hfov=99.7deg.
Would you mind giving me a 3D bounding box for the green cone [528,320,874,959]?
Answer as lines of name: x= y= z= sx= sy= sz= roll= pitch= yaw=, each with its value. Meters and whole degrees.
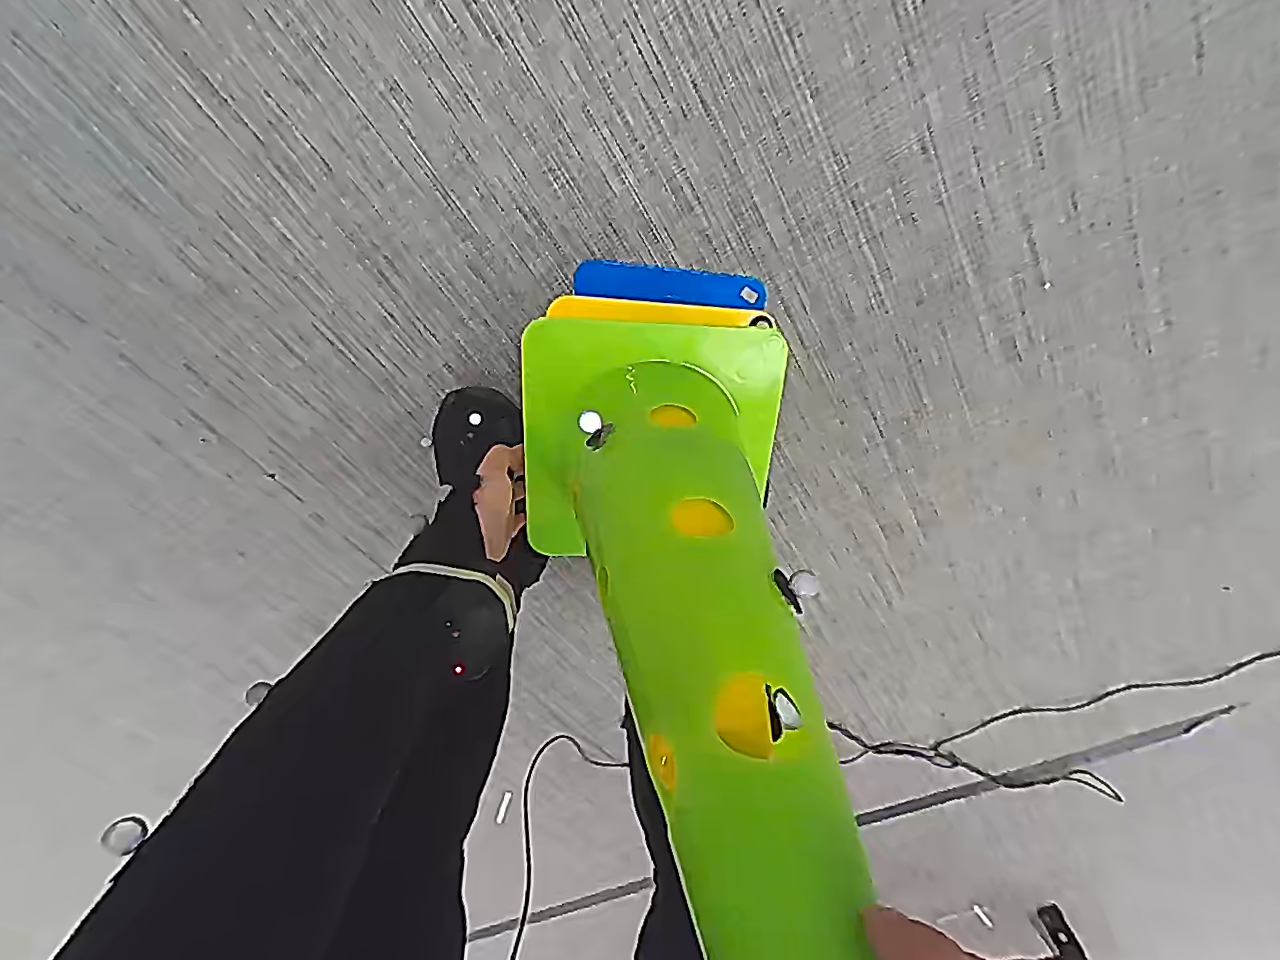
green cone: x=0.029 y=0.049 z=0.273 sx=0.202 sy=0.368 sz=0.200 roll=0 pitch=115 yaw=-5
